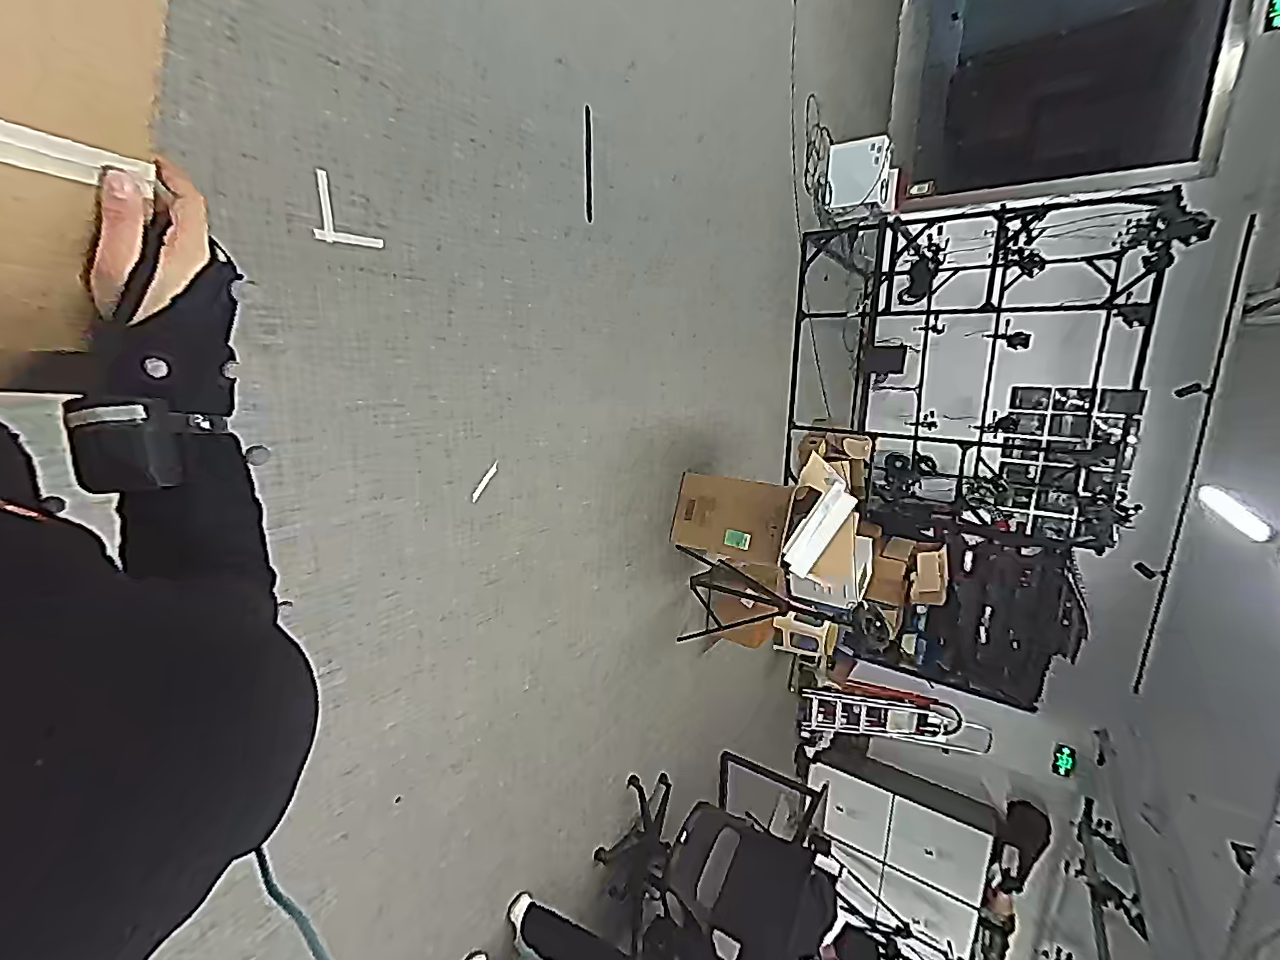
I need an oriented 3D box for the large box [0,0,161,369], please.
[{"bbox_3d":[-0.528,-0.270,0.239,0.408,0.320,0.320,-10,137,-56],"label":"large box"}]
